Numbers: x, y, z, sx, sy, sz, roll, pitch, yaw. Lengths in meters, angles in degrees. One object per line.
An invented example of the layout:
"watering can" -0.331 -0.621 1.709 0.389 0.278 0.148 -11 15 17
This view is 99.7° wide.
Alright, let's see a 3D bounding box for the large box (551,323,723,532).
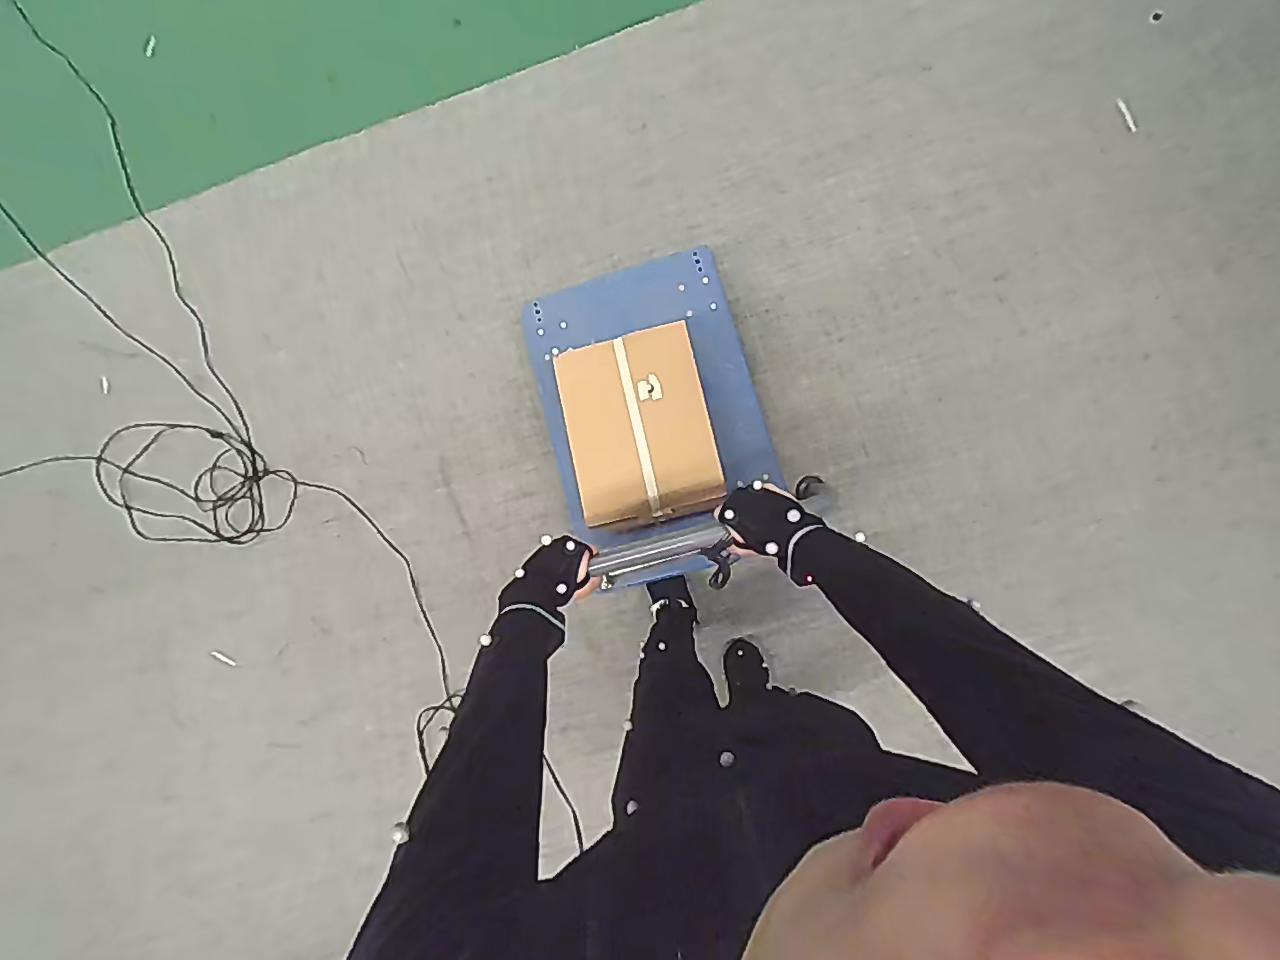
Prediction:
"large box" 0.007 -0.105 1.333 0.320 0.320 0.408 -13 81 5
